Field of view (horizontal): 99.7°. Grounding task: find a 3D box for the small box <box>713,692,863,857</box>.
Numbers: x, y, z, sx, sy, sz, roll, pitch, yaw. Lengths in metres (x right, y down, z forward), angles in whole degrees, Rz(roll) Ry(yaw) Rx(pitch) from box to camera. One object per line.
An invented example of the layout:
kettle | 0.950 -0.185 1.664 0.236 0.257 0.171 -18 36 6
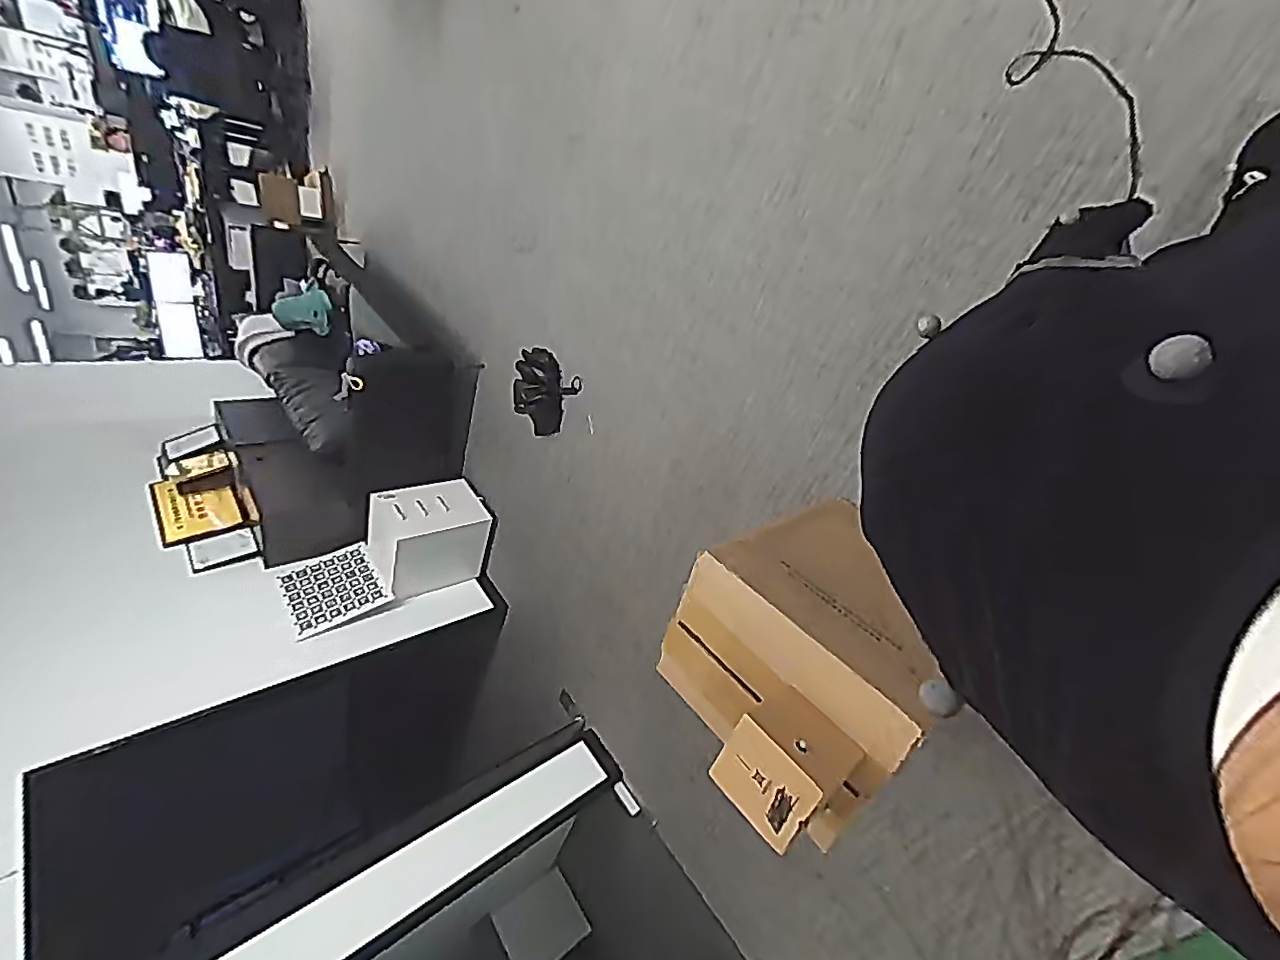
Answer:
small box | 0.274 0.525 0.992 0.179 0.176 0.168 39 116 36
